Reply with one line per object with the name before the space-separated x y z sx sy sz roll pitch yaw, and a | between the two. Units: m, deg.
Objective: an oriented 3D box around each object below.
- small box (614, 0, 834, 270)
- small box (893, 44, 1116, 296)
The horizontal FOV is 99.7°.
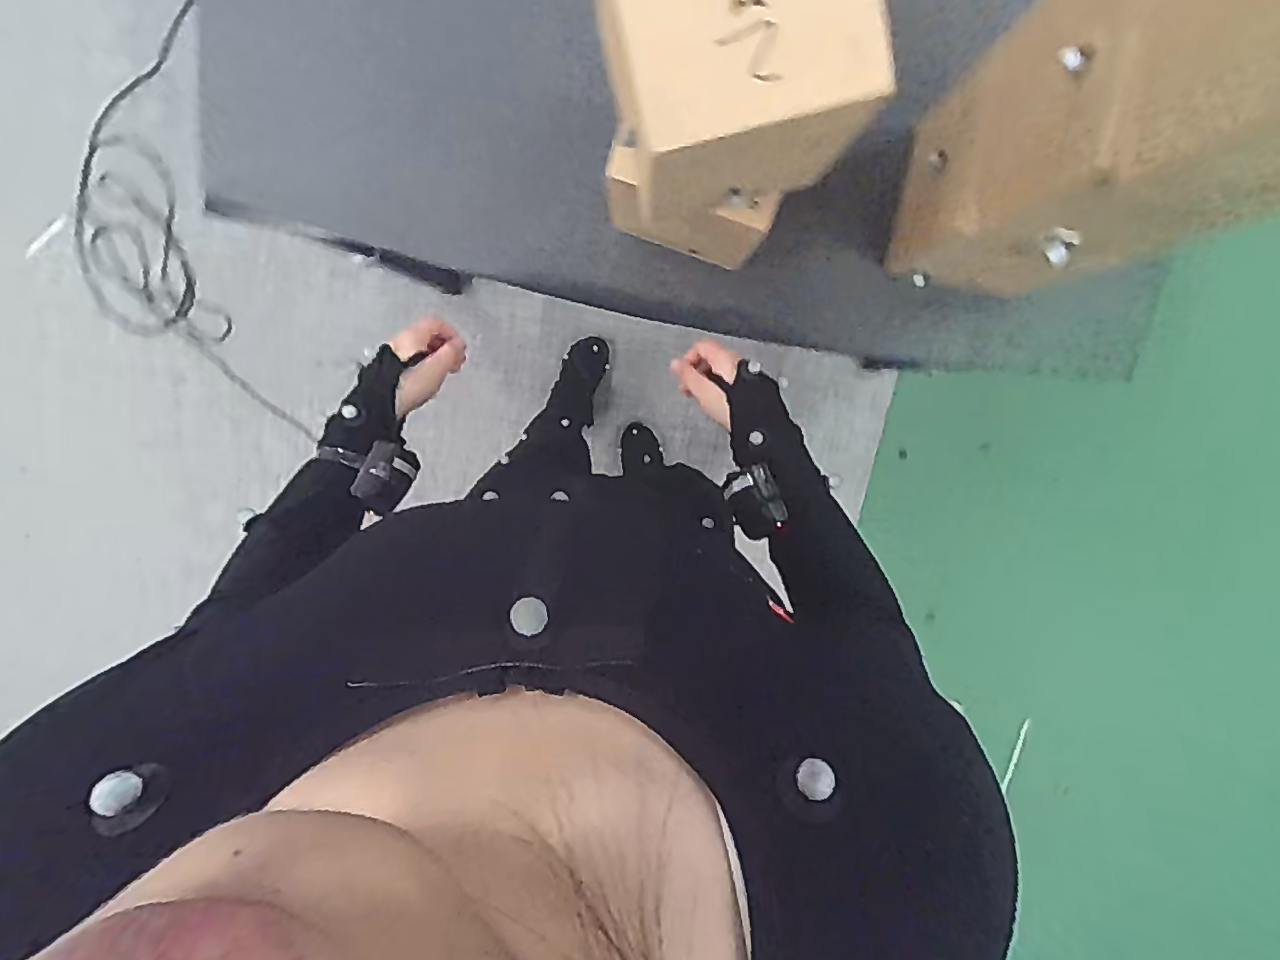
small box | 0.076 -0.355 0.585 0.168 0.176 0.179 19 98 -3
small box | 0.403 -0.314 0.589 0.168 0.176 0.179 11 98 -1
